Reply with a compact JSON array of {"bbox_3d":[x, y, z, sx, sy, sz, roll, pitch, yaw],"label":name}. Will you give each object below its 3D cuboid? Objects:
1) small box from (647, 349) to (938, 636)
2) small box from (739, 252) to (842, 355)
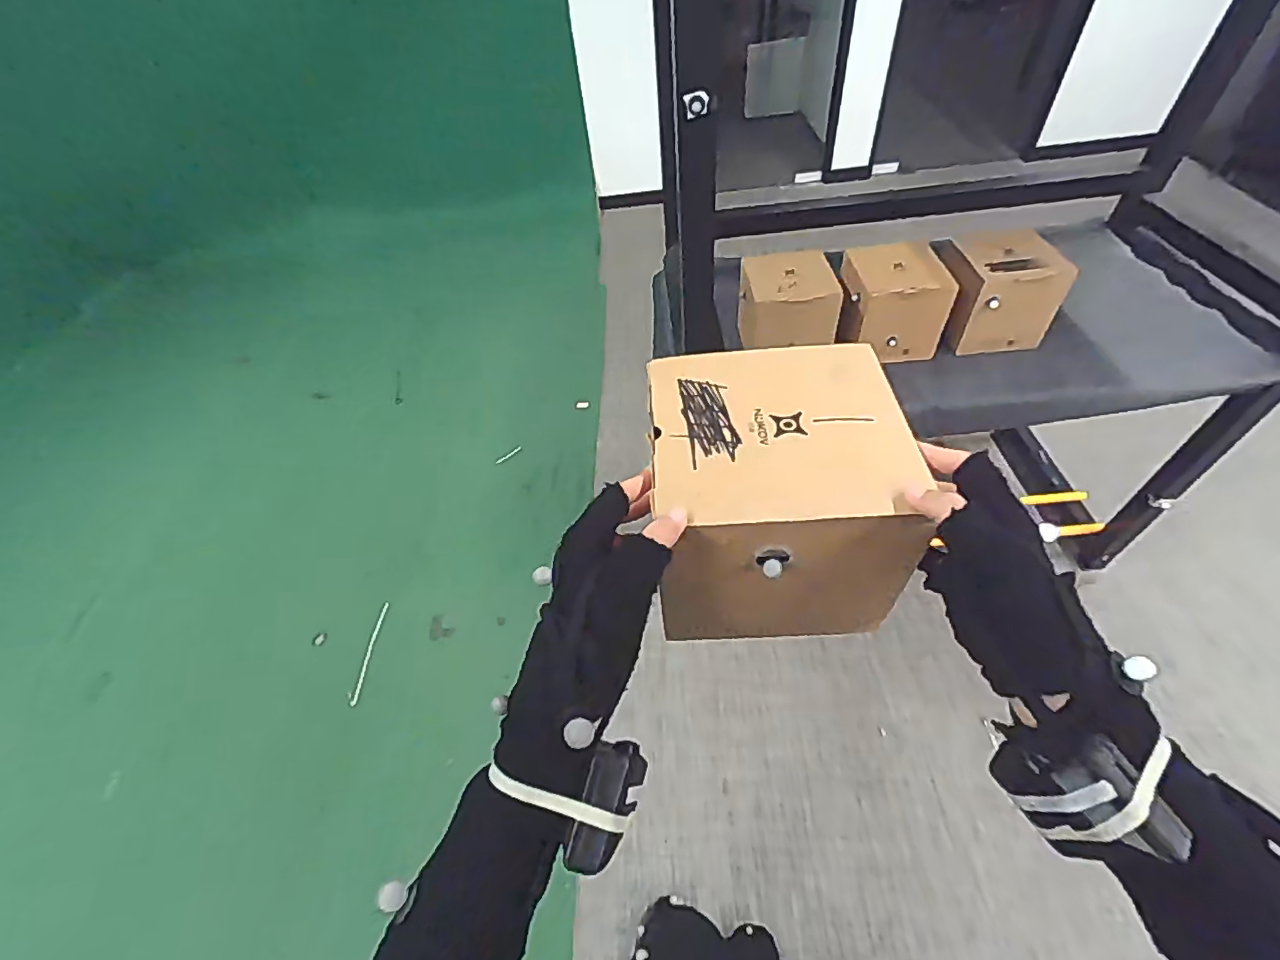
[{"bbox_3d":[0.099,0.016,0.437,0.179,0.176,0.168,-3,50,3],"label":"small box"},{"bbox_3d":[0.303,-0.349,1.128,0.168,0.176,0.179,-5,49,3],"label":"small box"}]
